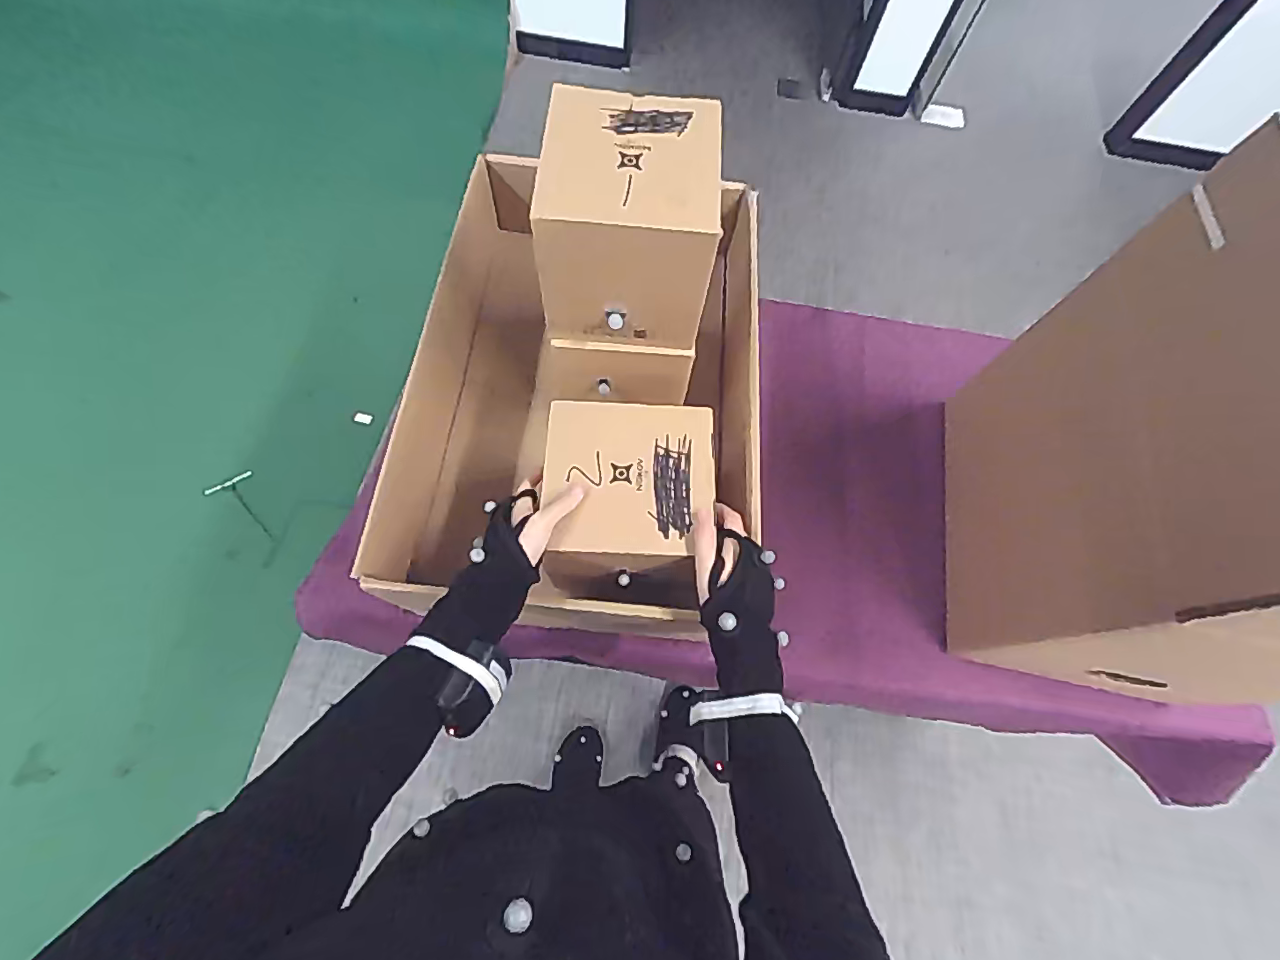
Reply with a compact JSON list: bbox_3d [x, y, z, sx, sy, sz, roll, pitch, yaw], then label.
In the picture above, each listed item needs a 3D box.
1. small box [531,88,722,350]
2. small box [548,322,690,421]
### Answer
[{"bbox_3d":[-0.012,-0.262,0.567,0.168,0.176,0.179,4,69,-1],"label":"small box"},{"bbox_3d":[-0.022,-0.193,0.716,0.168,0.176,0.179,4,67,-2],"label":"small box"}]
